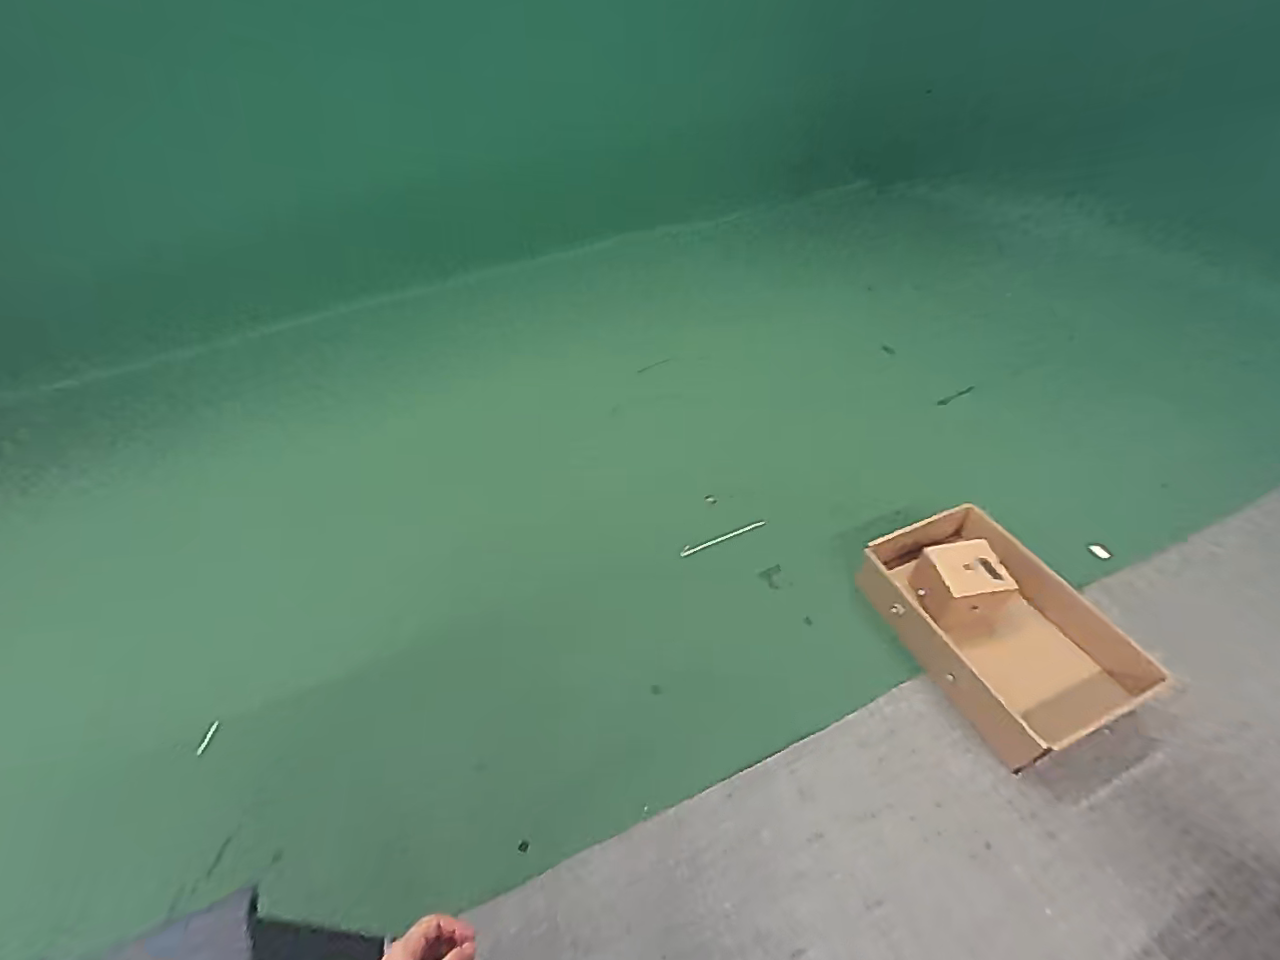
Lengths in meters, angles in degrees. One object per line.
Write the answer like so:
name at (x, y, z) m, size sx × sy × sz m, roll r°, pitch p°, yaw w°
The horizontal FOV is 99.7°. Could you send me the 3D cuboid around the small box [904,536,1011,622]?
small box at (0.883, 0.282, 1.525) m, size 0.179 × 0.176 × 0.168 m, roll -8°, pitch 47°, yaw -3°
